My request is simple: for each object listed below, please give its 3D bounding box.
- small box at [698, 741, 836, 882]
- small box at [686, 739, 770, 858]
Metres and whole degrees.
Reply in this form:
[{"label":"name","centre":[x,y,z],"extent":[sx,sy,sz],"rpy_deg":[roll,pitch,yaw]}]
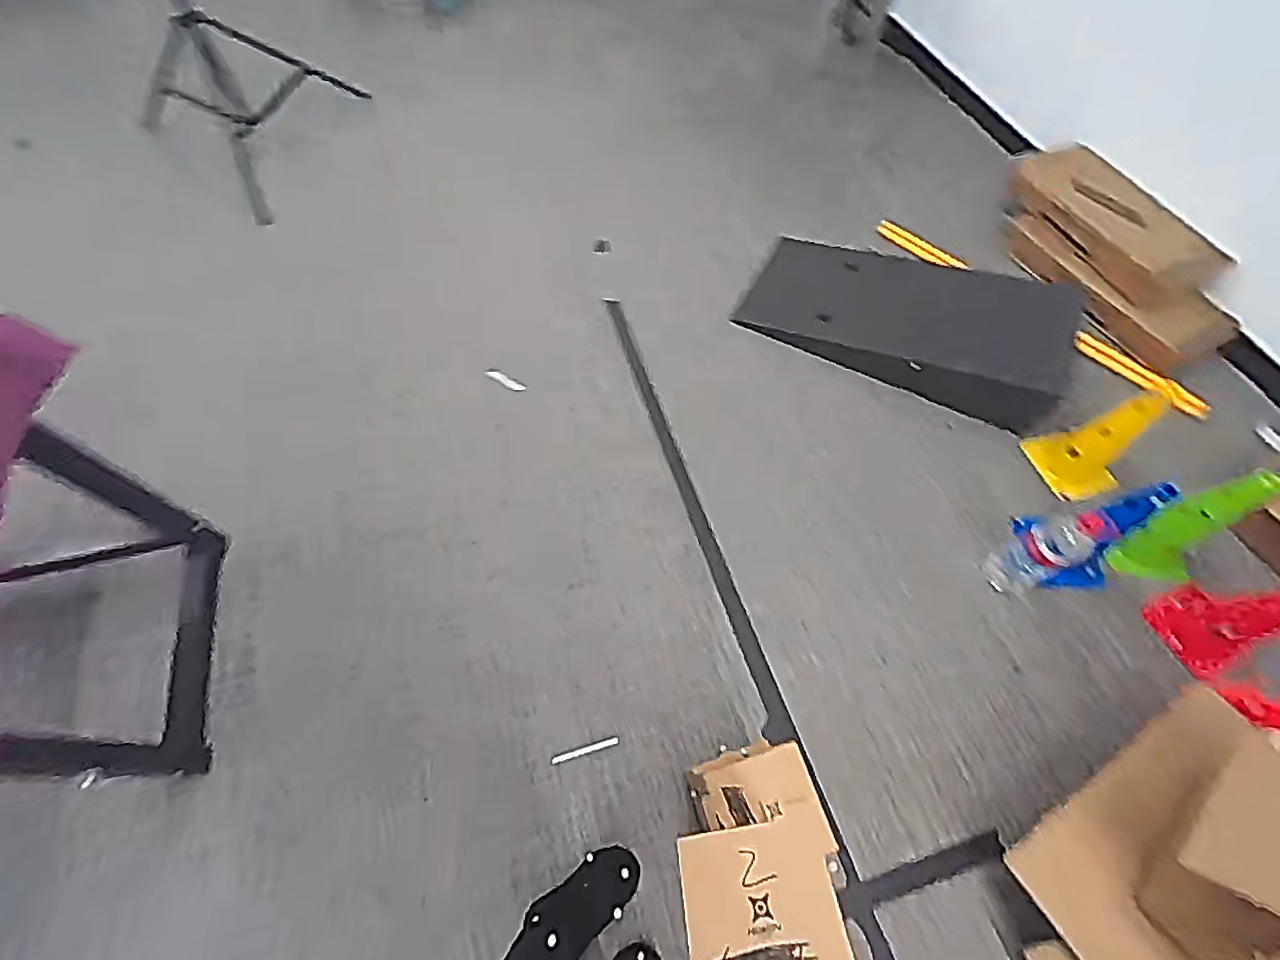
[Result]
[{"label":"small box","centre":[0.209,0.577,0.956],"extent":[0.179,0.176,0.168],"rpy_deg":[-13,63,-10]},{"label":"small box","centre":[0.203,0.650,1.103],"extent":[0.168,0.176,0.179],"rpy_deg":[-16,62,-11]}]
